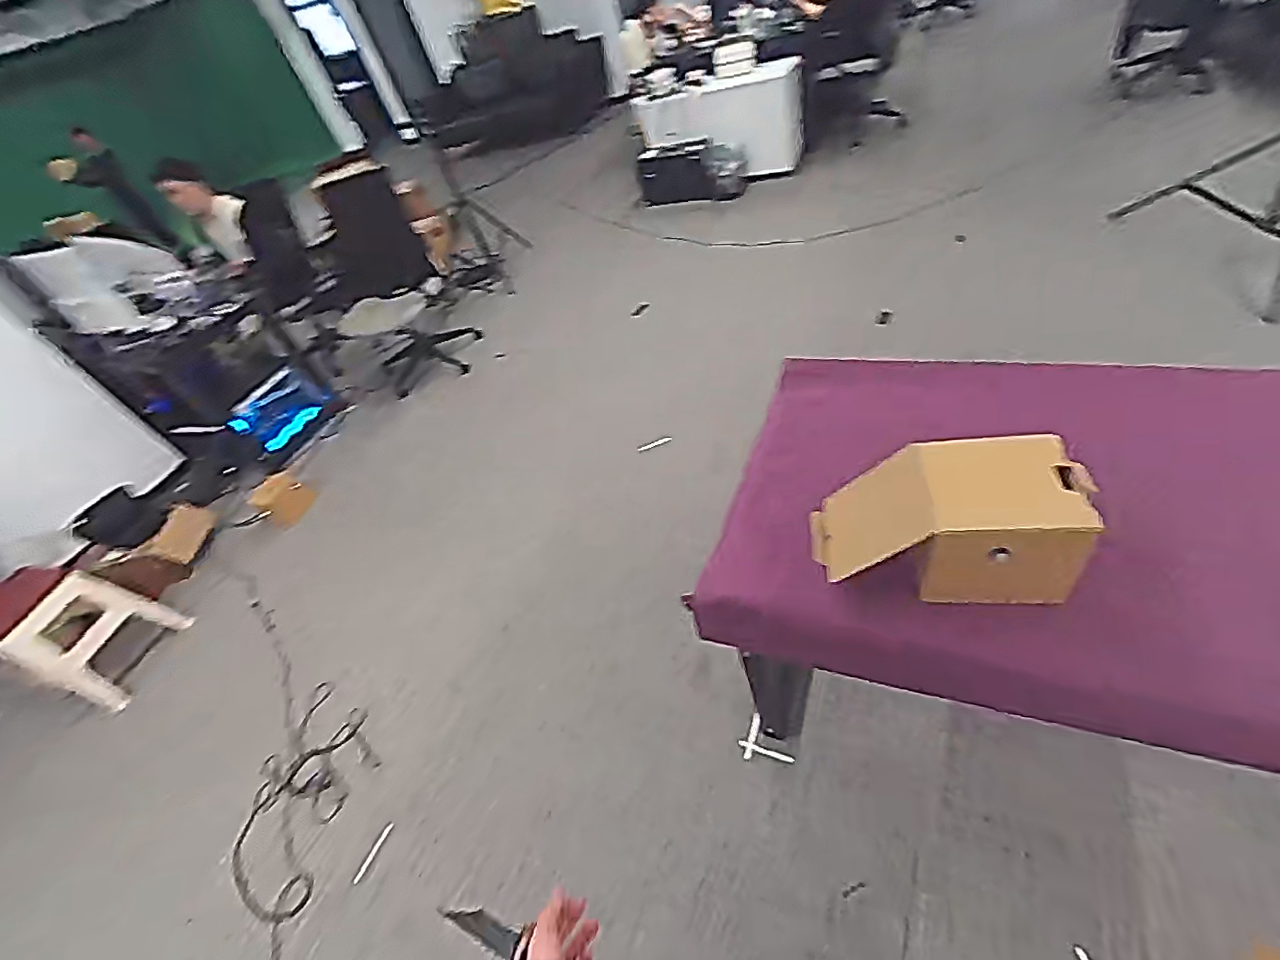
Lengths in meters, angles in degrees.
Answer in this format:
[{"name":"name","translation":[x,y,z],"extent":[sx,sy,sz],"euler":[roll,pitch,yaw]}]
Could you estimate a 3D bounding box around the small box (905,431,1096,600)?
[{"name":"small box","translation":[0.473,0.054,0.747],"extent":[0.179,0.176,0.168],"euler":[-3,47,17]}]
